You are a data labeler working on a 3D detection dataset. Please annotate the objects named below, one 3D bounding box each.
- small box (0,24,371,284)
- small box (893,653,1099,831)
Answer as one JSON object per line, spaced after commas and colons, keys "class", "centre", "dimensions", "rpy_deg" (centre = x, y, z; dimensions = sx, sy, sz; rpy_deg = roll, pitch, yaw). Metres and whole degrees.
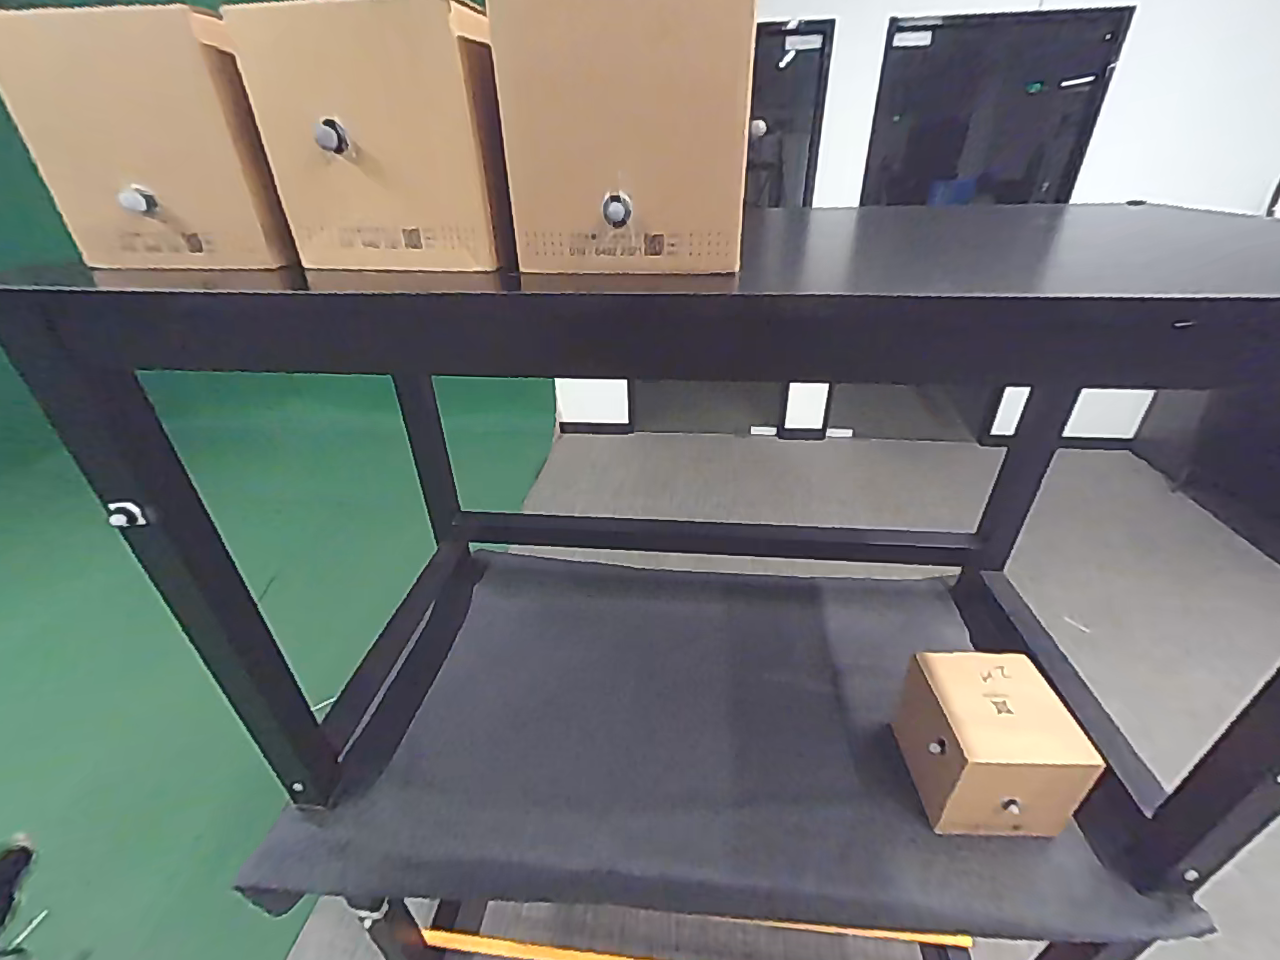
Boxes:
{"class": "small box", "centre": [-0.367, -0.281, 0.480], "dimensions": [0.168, 0.176, 0.179], "rpy_deg": [2, 32, 4]}
{"class": "small box", "centre": [0.488, 0.373, 0.776], "dimensions": [0.168, 0.176, 0.179], "rpy_deg": [0, 30, 2]}
